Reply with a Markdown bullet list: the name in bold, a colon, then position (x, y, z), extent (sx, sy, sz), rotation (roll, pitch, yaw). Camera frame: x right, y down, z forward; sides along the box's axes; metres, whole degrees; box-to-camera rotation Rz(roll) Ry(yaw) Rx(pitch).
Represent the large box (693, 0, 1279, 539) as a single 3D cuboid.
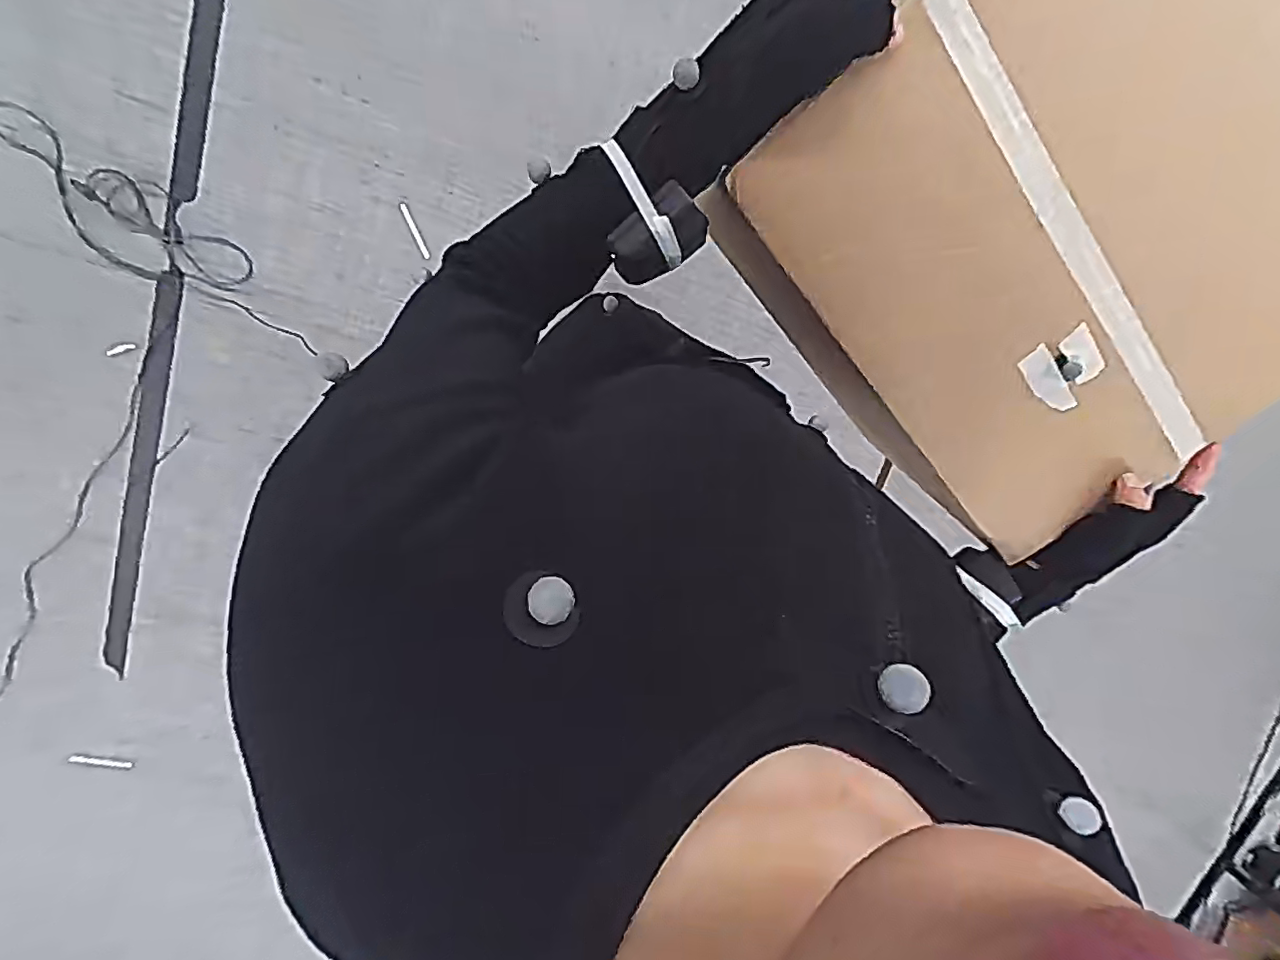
- **large box**: position (0.302, -0.231, 0.522), extent (0.320, 0.320, 0.408), rotation (-39, 109, 17)
